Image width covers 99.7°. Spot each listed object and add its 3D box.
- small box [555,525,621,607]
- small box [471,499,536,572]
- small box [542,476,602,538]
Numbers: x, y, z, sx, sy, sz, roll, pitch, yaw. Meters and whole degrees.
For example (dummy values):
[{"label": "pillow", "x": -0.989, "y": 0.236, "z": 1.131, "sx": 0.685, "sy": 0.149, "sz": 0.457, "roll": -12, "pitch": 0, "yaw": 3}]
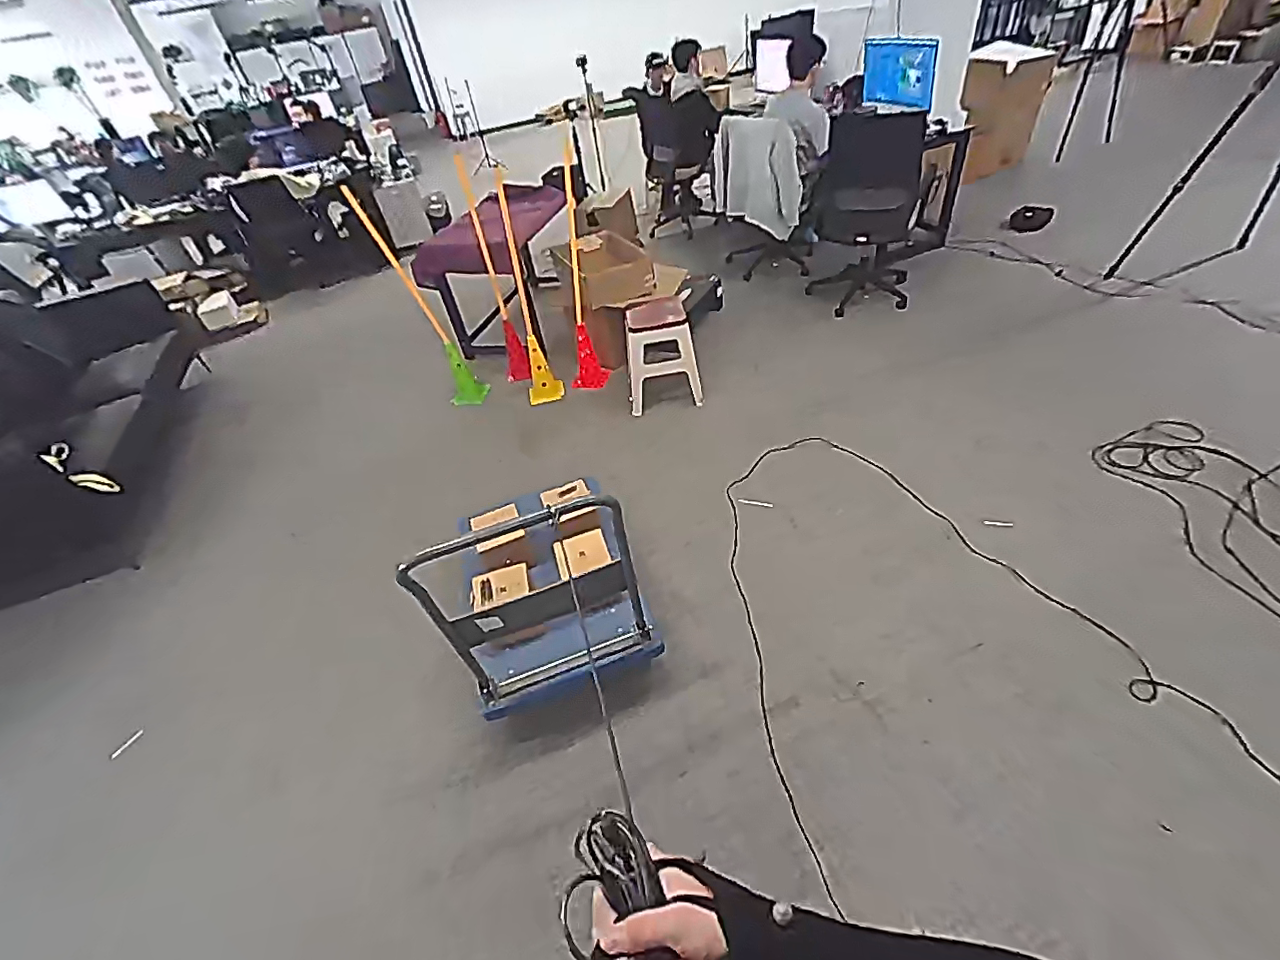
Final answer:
[{"label": "small box", "x": -0.171, "y": 0.284, "z": 1.774, "sx": 0.168, "sy": 0.176, "sz": 0.179, "roll": -17, "pitch": 44, "yaw": -7}, {"label": "small box", "x": -0.482, "y": 0.205, "z": 1.921, "sx": 0.168, "sy": 0.176, "sz": 0.179, "roll": -20, "pitch": 43, "yaw": -11}, {"label": "small box", "x": -0.243, "y": 0.119, "z": 1.962, "sx": 0.168, "sy": 0.176, "sz": 0.179, "roll": -20, "pitch": 44, "yaw": -9}]
